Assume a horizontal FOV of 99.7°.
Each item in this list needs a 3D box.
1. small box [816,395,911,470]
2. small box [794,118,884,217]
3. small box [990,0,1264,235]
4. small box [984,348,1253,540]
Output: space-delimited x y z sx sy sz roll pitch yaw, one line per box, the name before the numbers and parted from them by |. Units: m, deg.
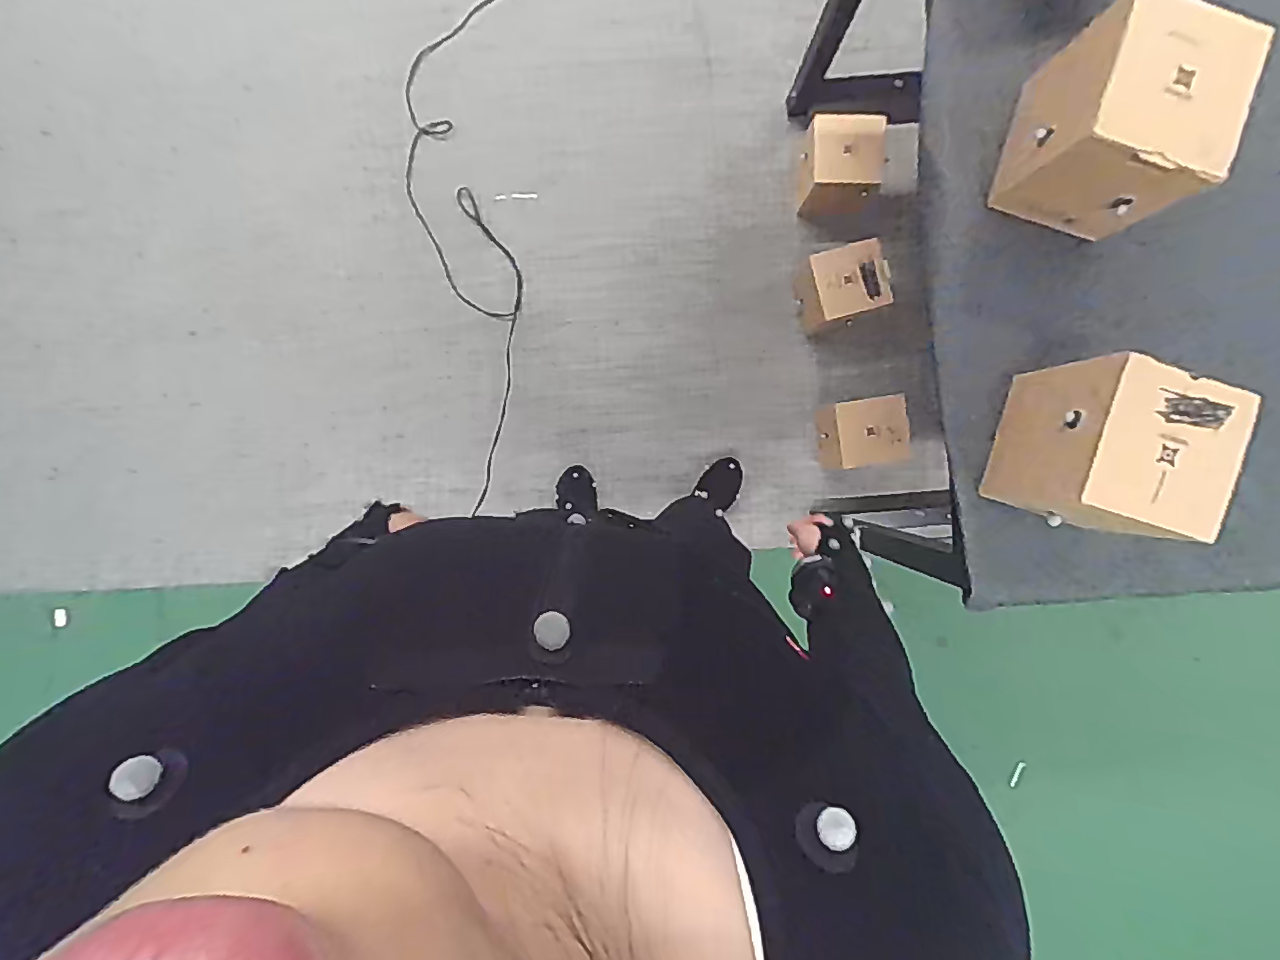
small box | 0.570 -0.118 1.403 0.179 0.176 0.168 -9 92 0
small box | 0.503 -0.794 1.388 0.179 0.176 0.168 0 91 -1
small box | 0.577 -0.436 0.668 0.168 0.176 0.179 16 90 -4
small box | 0.573 -0.040 0.673 0.168 0.176 0.179 17 90 -3
